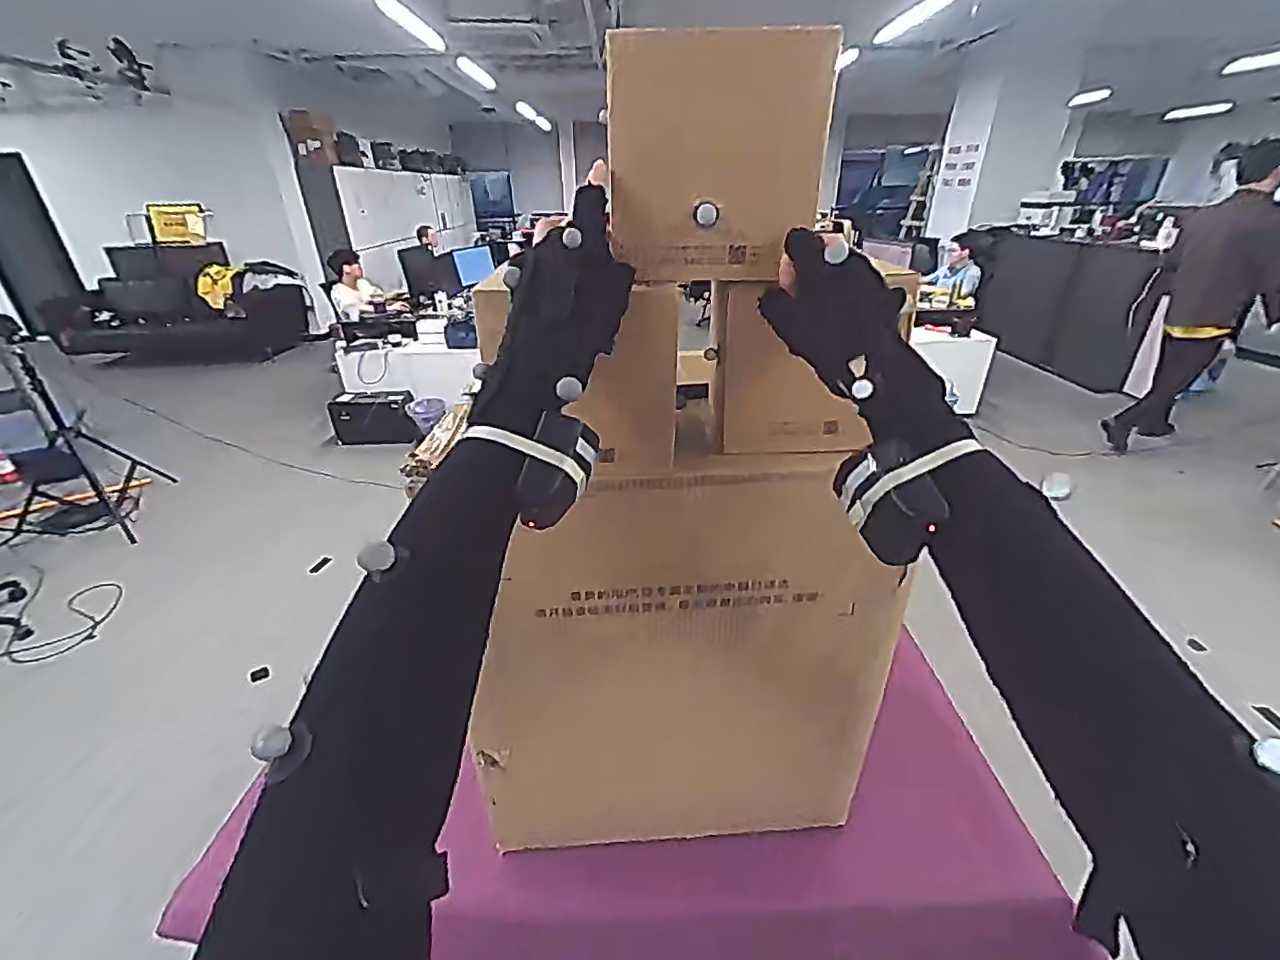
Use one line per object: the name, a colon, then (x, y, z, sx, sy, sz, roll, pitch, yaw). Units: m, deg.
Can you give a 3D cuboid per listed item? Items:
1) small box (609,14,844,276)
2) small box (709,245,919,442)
small box: (0.061, -0.284, 0.482, 0.168, 0.176, 0.179, 0, 29, 1)
small box: (0.162, -0.145, 0.567, 0.168, 0.176, 0.179, -1, 27, 2)
